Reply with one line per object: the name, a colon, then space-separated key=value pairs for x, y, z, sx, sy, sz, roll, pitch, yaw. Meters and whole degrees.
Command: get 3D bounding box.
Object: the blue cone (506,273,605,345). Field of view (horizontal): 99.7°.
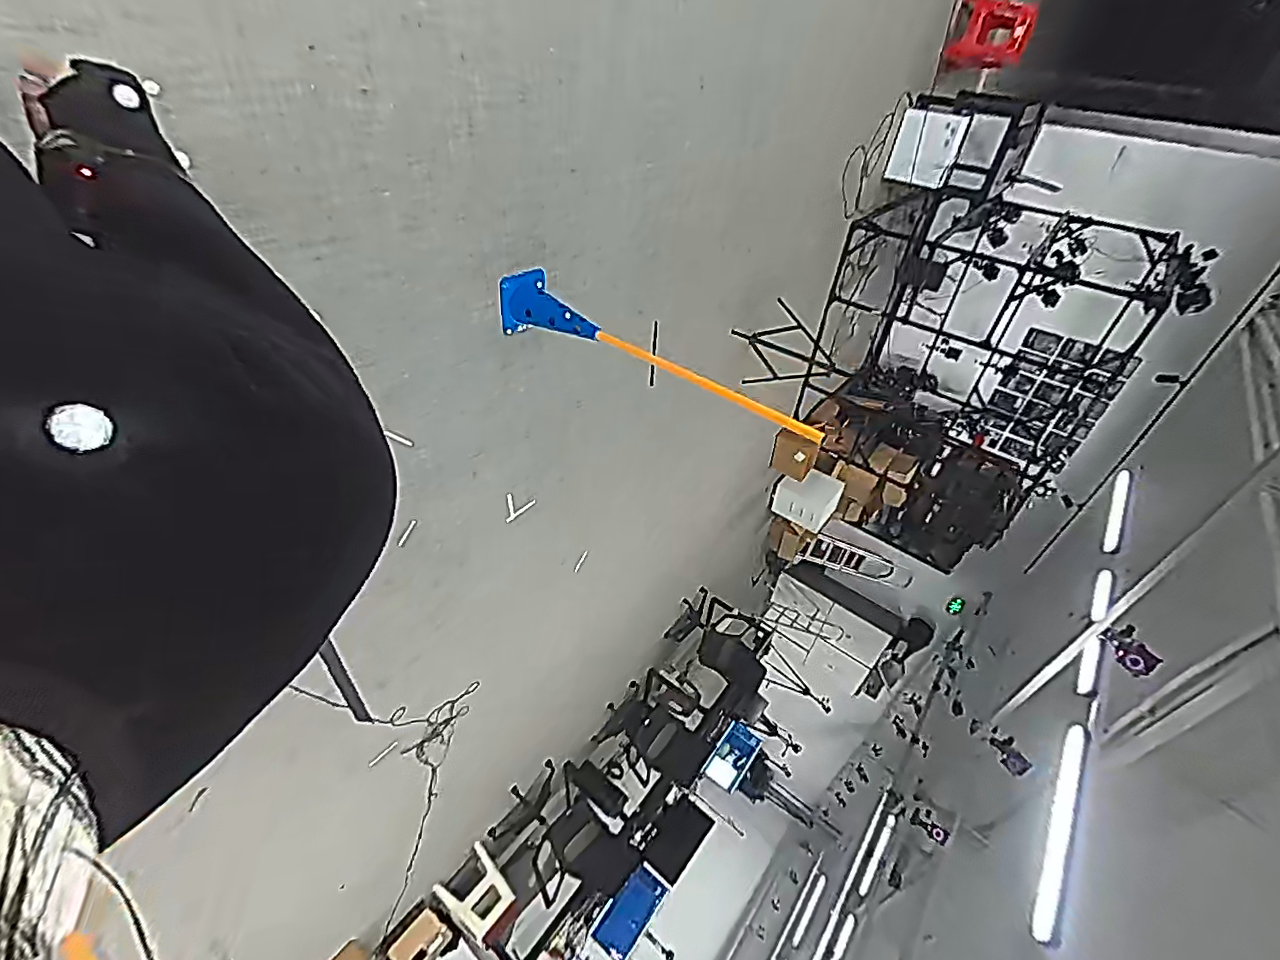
blue cone: x=-0.270 y=-0.549 z=1.829 sx=0.193 sy=0.380 sz=0.192 roll=-34 pitch=145 yaw=-41
